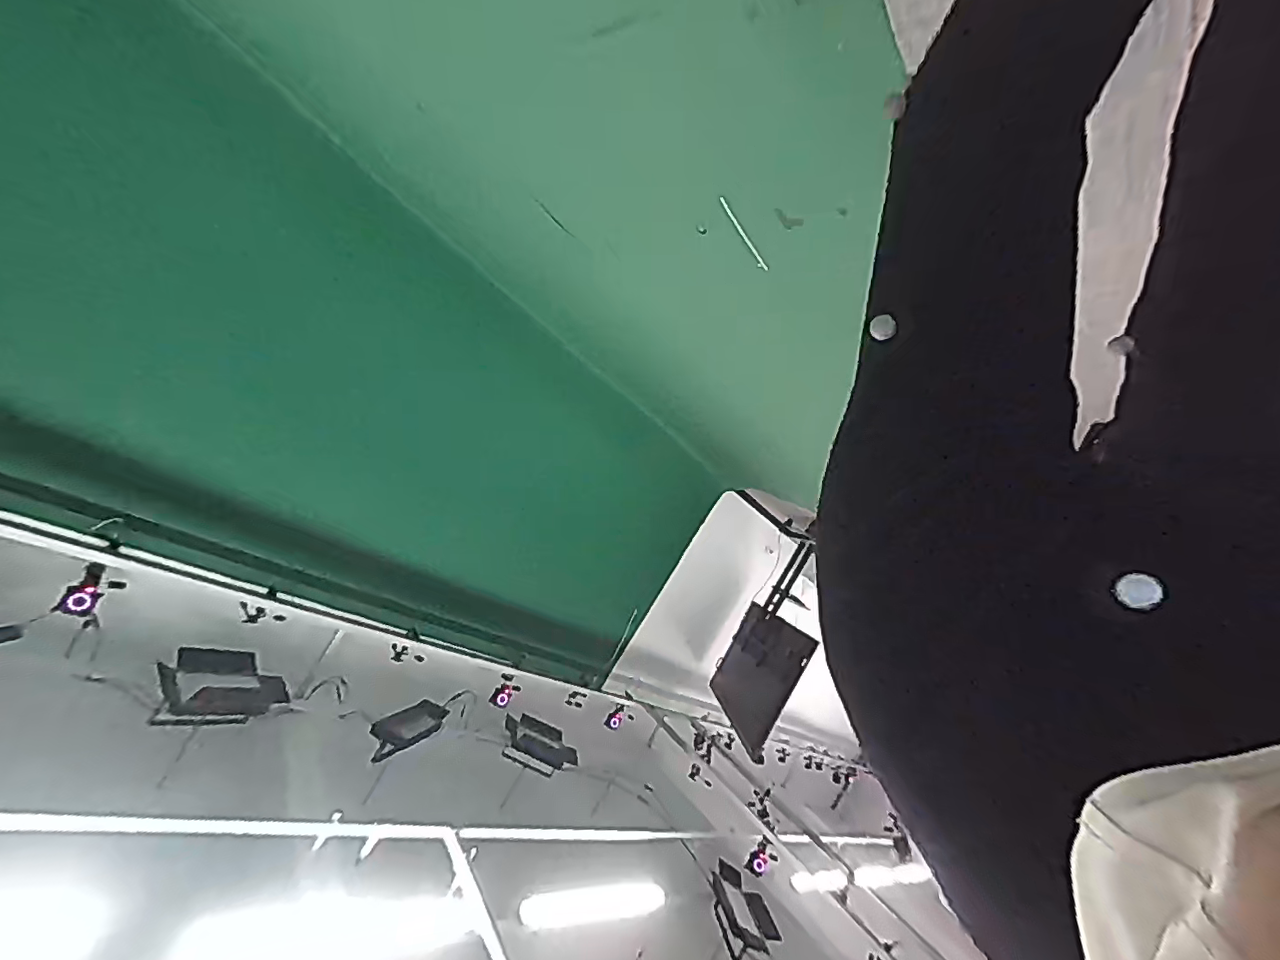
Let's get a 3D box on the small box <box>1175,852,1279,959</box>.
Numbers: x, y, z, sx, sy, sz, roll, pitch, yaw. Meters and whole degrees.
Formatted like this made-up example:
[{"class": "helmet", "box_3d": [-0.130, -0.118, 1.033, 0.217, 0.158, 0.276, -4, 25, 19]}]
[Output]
[{"class": "small box", "box_3d": [1.266, 0.913, 1.129, 0.179, 0.176, 0.168, 36, 174, -39]}]
